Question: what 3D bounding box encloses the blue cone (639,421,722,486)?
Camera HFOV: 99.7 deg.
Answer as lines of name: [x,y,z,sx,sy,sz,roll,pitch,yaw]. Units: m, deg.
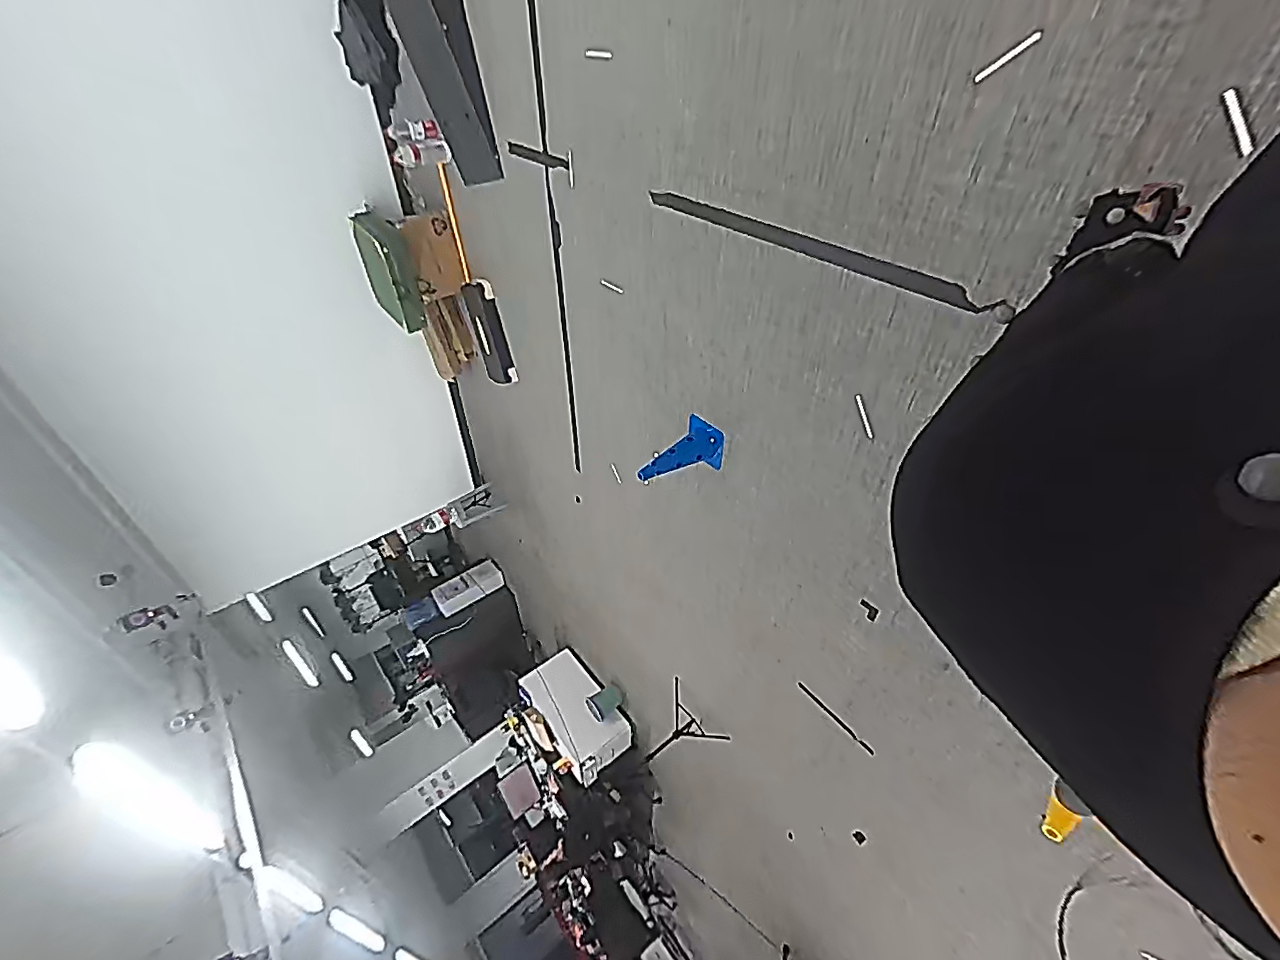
blue cone: [0.149,-0.078,2.219,0.193,0.380,0.192,40,145,35]
